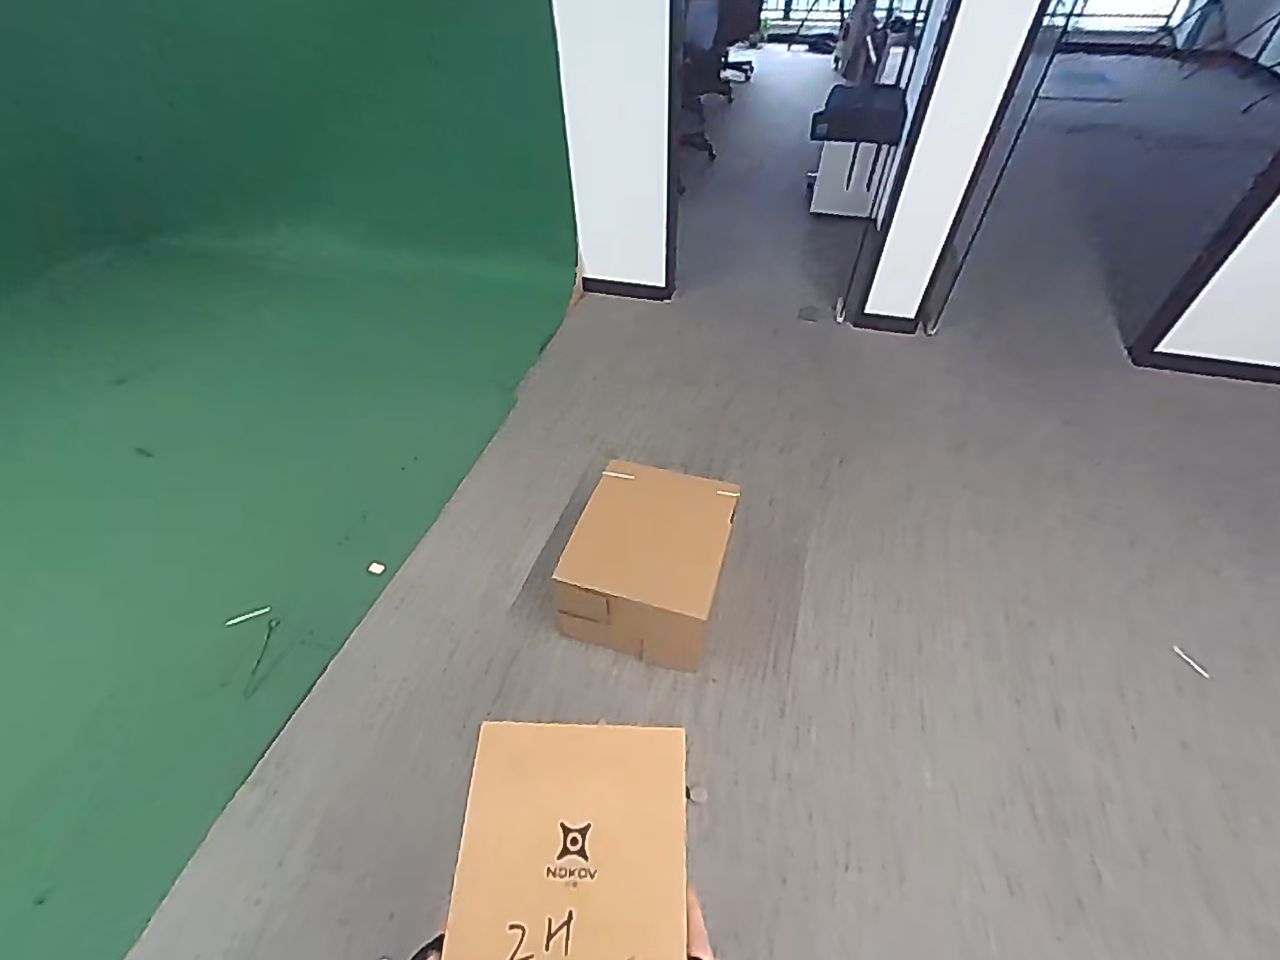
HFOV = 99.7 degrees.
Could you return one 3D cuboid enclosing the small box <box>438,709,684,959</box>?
[{"bbox_3d":[-0.049,0.307,0.465,0.168,0.176,0.179,1,59,3],"label":"small box"}]
